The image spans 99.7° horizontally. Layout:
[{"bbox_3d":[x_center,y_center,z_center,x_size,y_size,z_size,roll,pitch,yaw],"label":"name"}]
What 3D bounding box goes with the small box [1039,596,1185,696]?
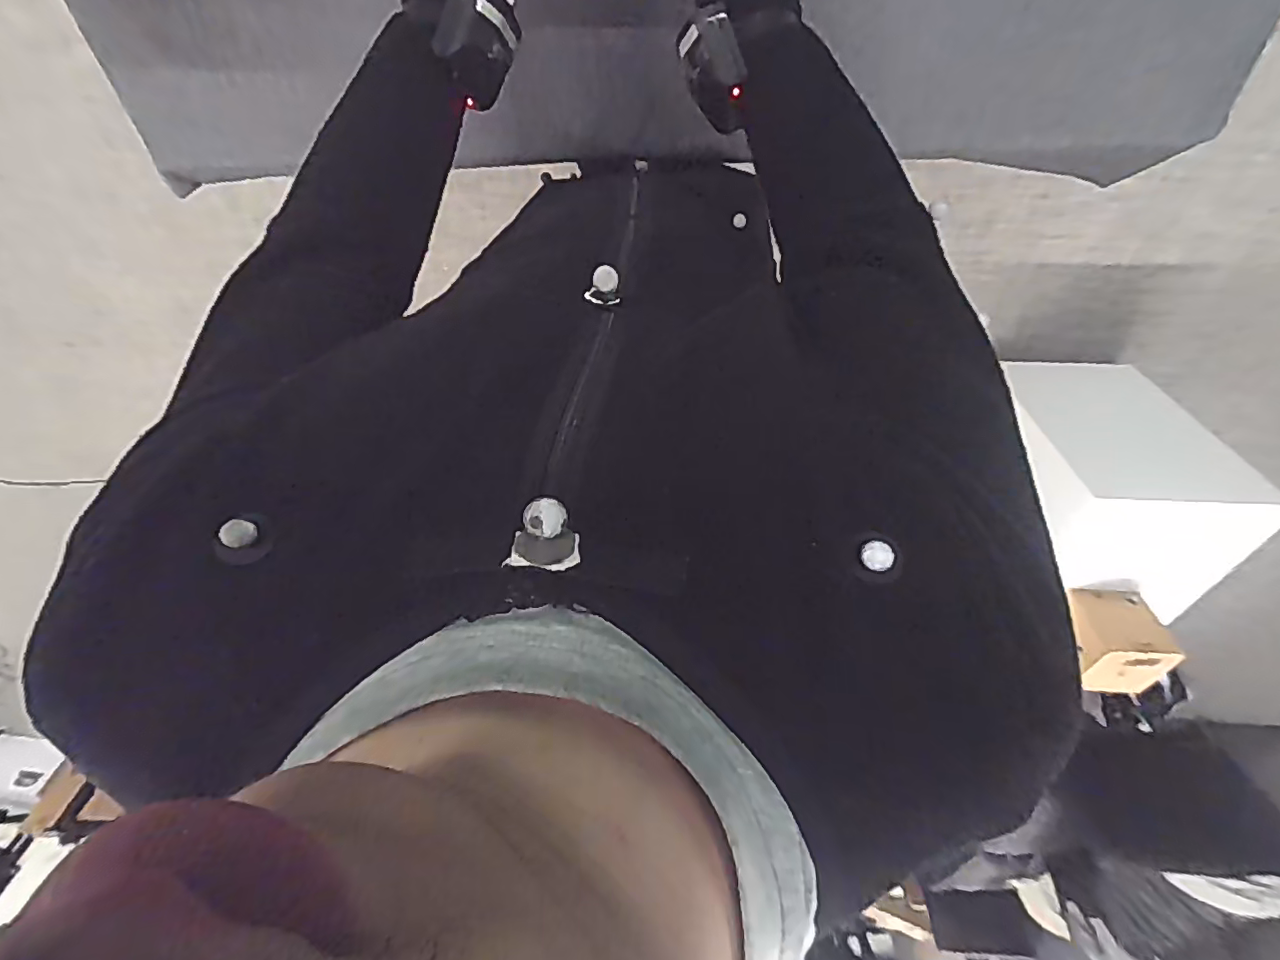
[{"bbox_3d":[1.106,0.394,1.290,0.168,0.176,0.179,1,131,0],"label":"small box"}]
